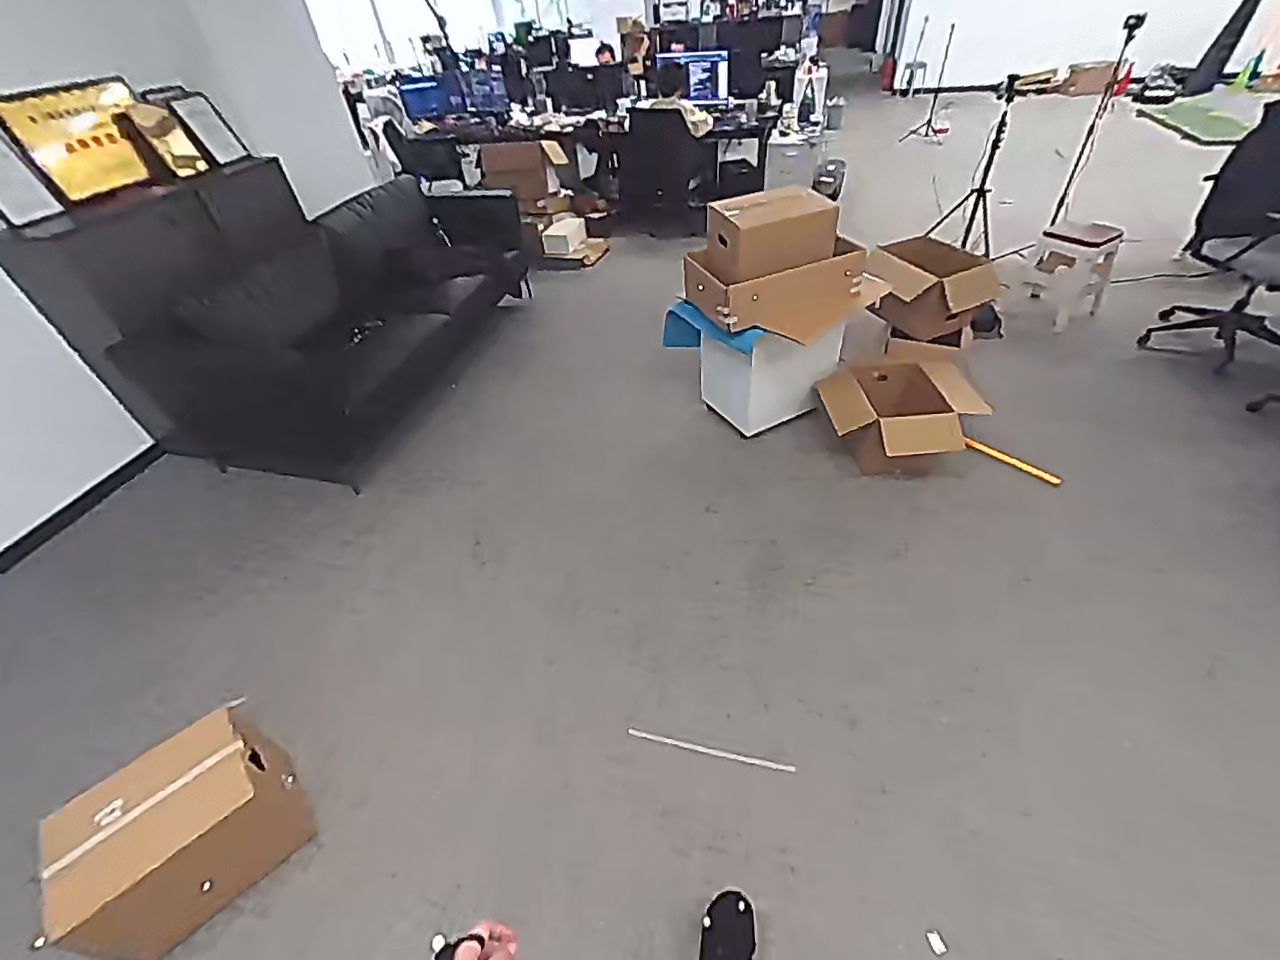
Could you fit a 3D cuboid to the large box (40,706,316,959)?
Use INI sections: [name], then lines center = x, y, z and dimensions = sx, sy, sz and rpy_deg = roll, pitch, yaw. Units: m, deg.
[large box]
center = -1.134, 0.876, 1.361
dimensions = 0.408, 0.320, 0.320
rpy_deg = -35, 49, -27
